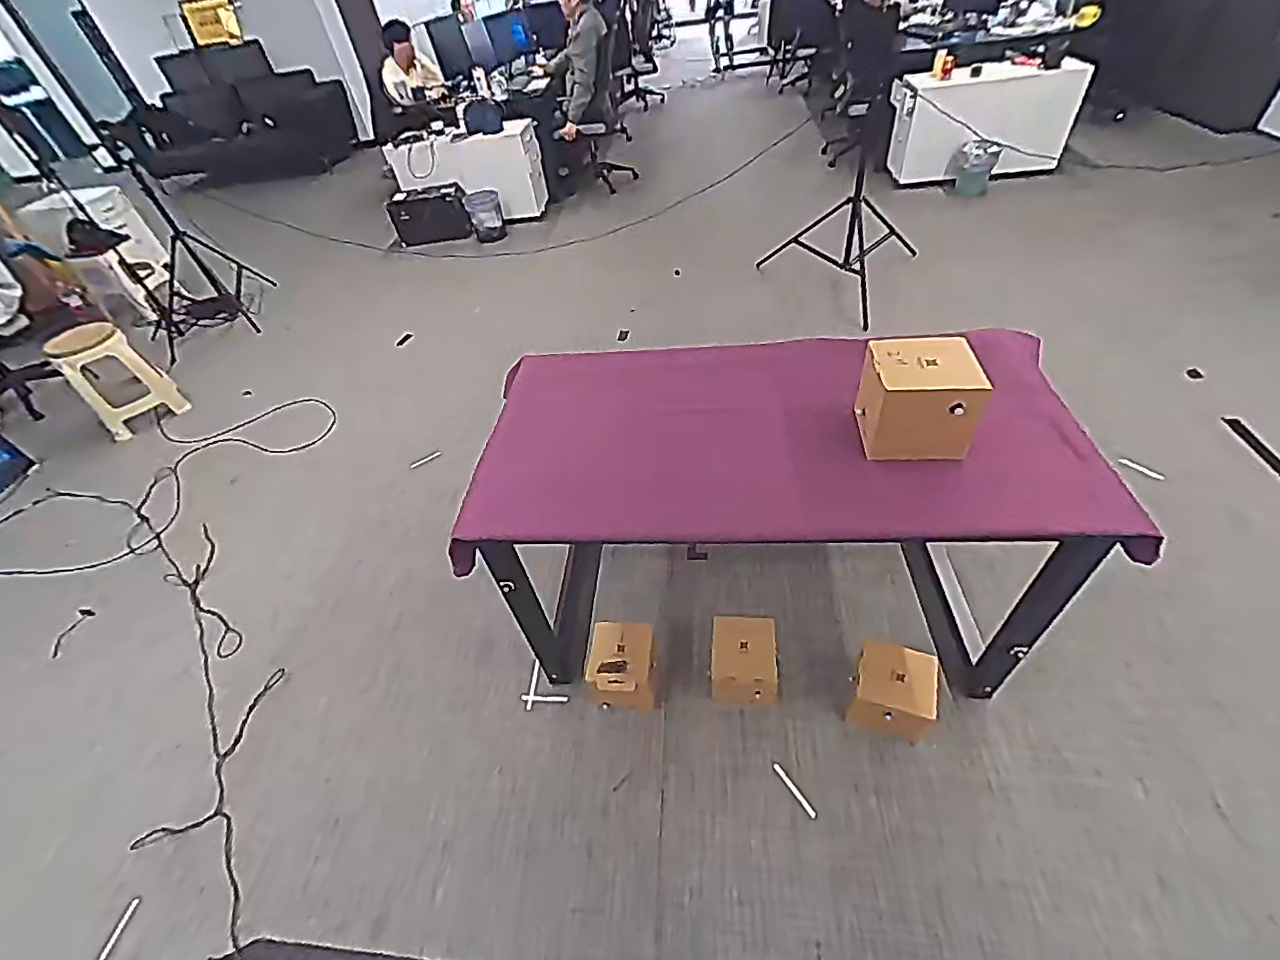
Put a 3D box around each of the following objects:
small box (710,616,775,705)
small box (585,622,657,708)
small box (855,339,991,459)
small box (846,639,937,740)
[{"bbox_3d":[0.278,0.494,1.473,0.168,0.176,0.179,1,45,9],"label":"small box"},{"bbox_3d":[-0.044,0.515,1.501,0.168,0.176,0.179,0,45,9],"label":"small box"},{"bbox_3d":[0.528,-0.152,1.037,0.179,0.176,0.168,0,45,10],"label":"small box"},{"bbox_3d":[0.636,0.536,1.375,0.179,0.176,0.168,11,49,21],"label":"small box"}]
